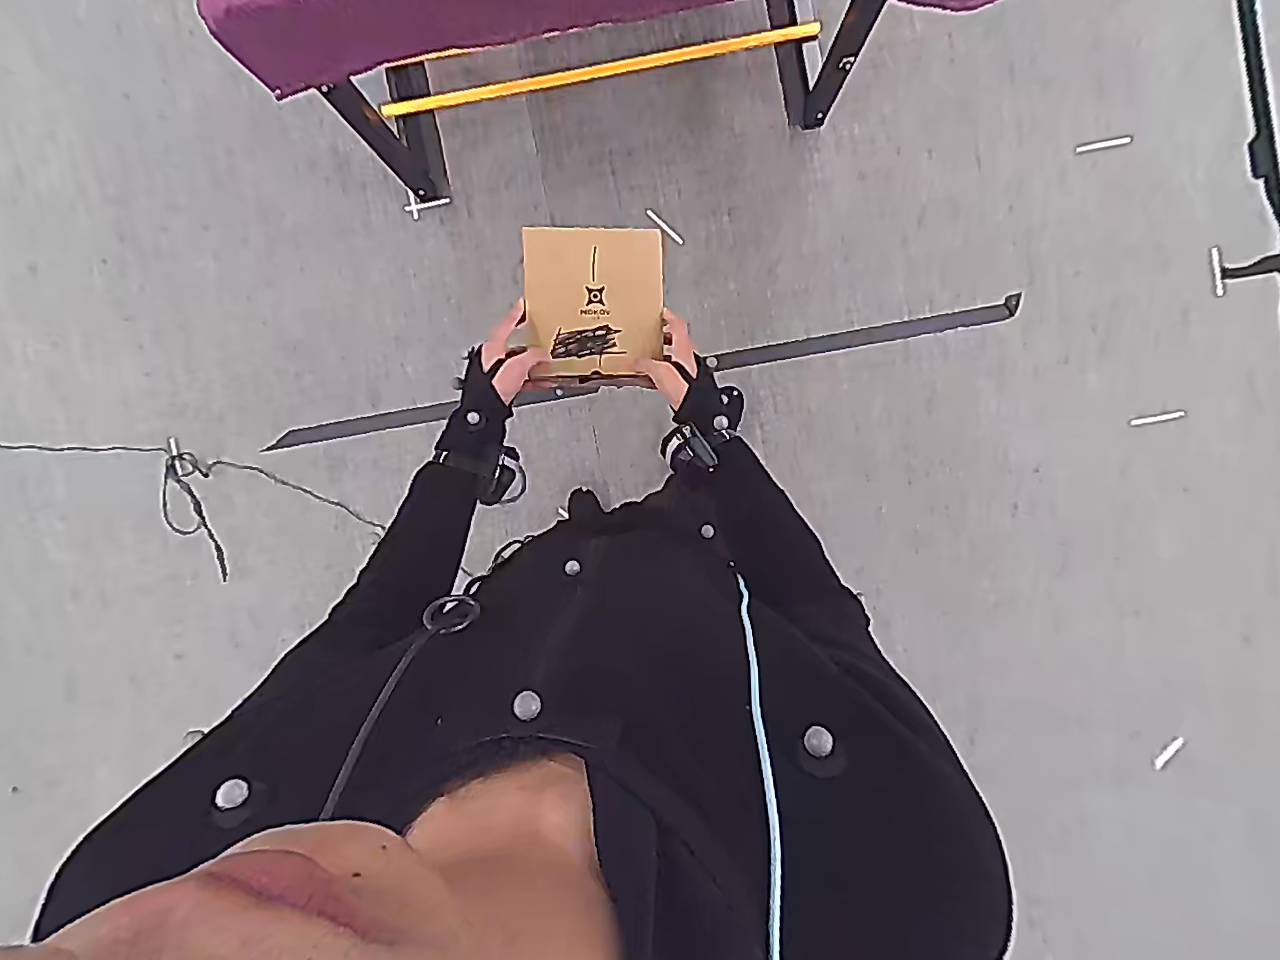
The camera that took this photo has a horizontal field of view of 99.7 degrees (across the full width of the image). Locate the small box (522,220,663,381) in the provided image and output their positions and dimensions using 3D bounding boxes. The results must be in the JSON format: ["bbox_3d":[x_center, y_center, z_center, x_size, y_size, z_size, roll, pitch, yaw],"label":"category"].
[{"bbox_3d":[-0.061,-0.223,0.716,0.168,0.176,0.179,-1,96,-5],"label":"small box"}]
